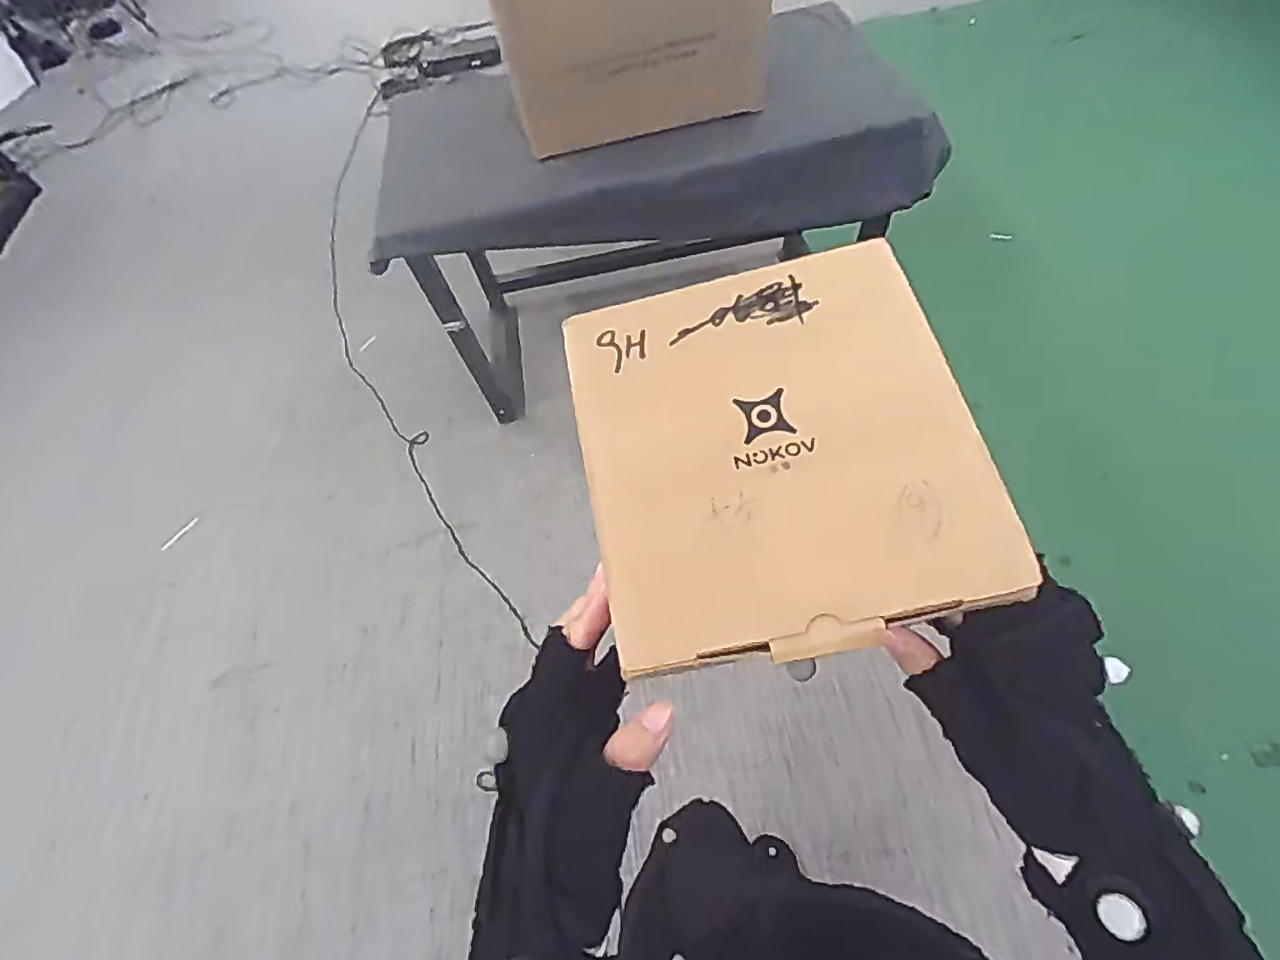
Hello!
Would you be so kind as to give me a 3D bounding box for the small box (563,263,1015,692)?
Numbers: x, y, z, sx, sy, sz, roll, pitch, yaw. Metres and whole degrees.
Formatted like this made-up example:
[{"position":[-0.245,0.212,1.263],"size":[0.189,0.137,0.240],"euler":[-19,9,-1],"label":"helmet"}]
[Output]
[{"position":[0.067,0.014,0.321],"size":[0.168,0.176,0.179],"euler":[-14,70,4],"label":"small box"}]
